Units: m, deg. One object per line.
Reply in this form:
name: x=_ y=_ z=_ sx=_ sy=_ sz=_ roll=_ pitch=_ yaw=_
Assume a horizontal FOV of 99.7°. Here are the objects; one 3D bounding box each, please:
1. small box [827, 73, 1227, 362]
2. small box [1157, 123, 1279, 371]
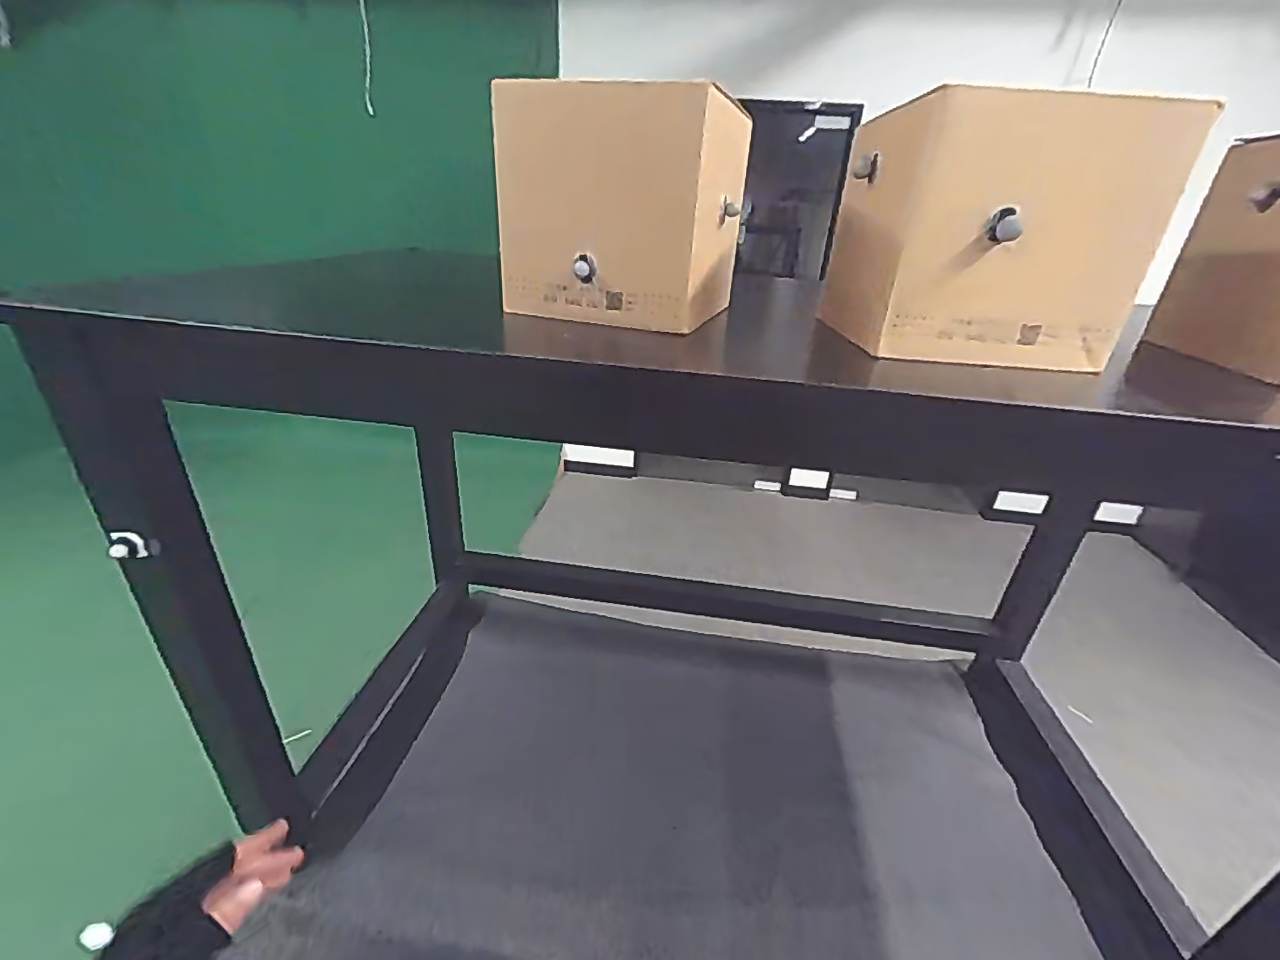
small box: x=0.262 y=-0.196 z=0.424 sx=0.168 sy=0.176 sz=0.179 roll=4 pitch=26 yaw=1
small box: x=0.553 y=-0.168 z=0.399 sx=0.168 sy=0.176 sz=0.179 roll=8 pitch=28 yaw=11
